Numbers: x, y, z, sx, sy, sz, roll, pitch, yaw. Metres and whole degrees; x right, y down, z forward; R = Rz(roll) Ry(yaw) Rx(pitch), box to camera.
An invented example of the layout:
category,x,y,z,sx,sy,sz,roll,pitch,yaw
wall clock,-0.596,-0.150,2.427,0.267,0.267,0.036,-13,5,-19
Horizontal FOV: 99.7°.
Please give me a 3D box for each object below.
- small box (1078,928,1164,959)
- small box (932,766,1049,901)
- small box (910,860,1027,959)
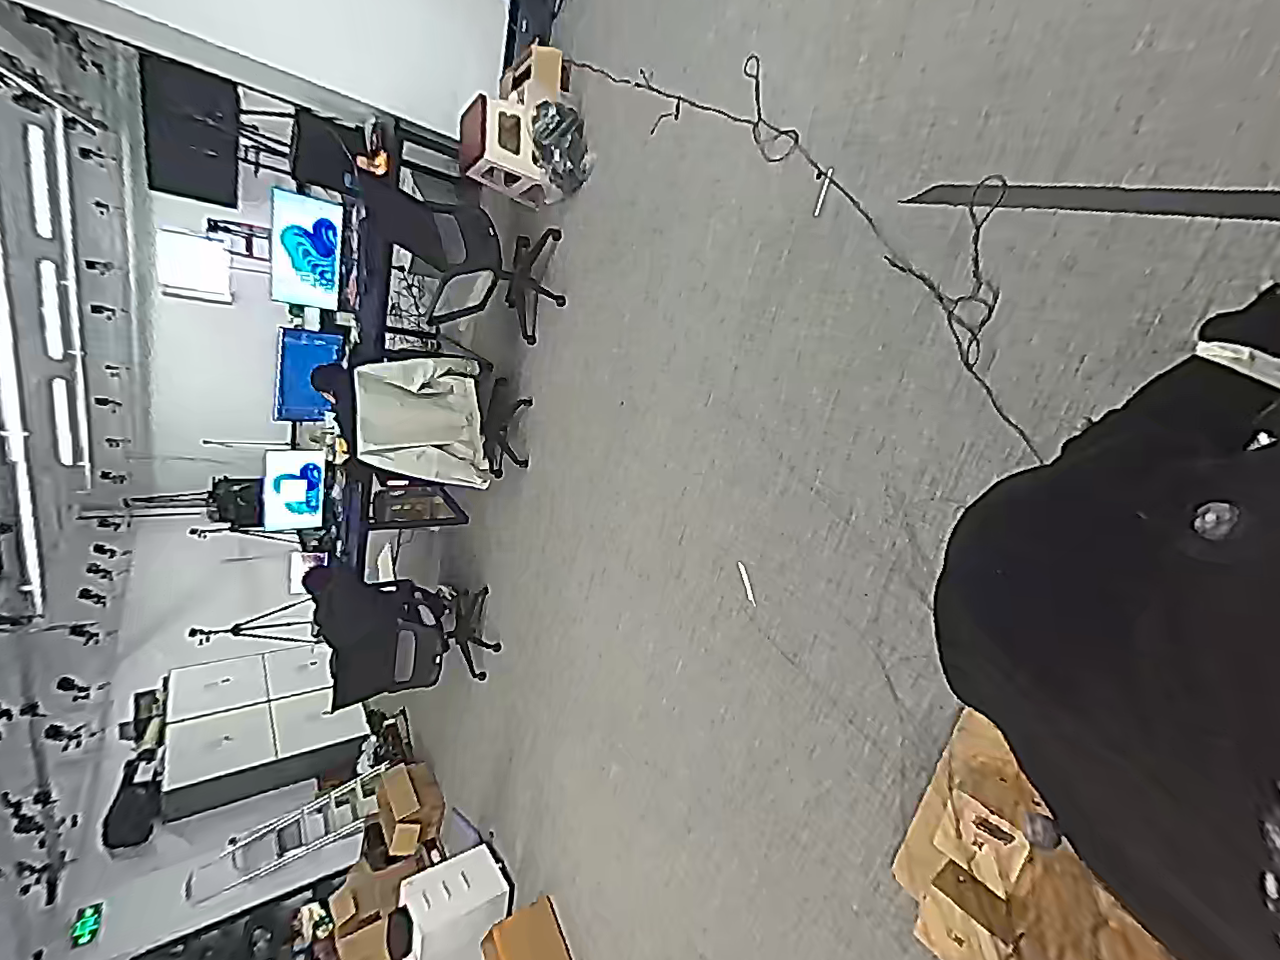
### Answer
category,x,y,z,sx,sy,sz,roll,pitch,yaw
small box,0.992,1.055,1.084,0.179,0.176,0.168,35,117,43
small box,0.830,0.821,1.277,0.168,0.176,0.179,26,111,47
small box,0.802,1.076,1.322,0.179,0.176,0.168,24,111,47
